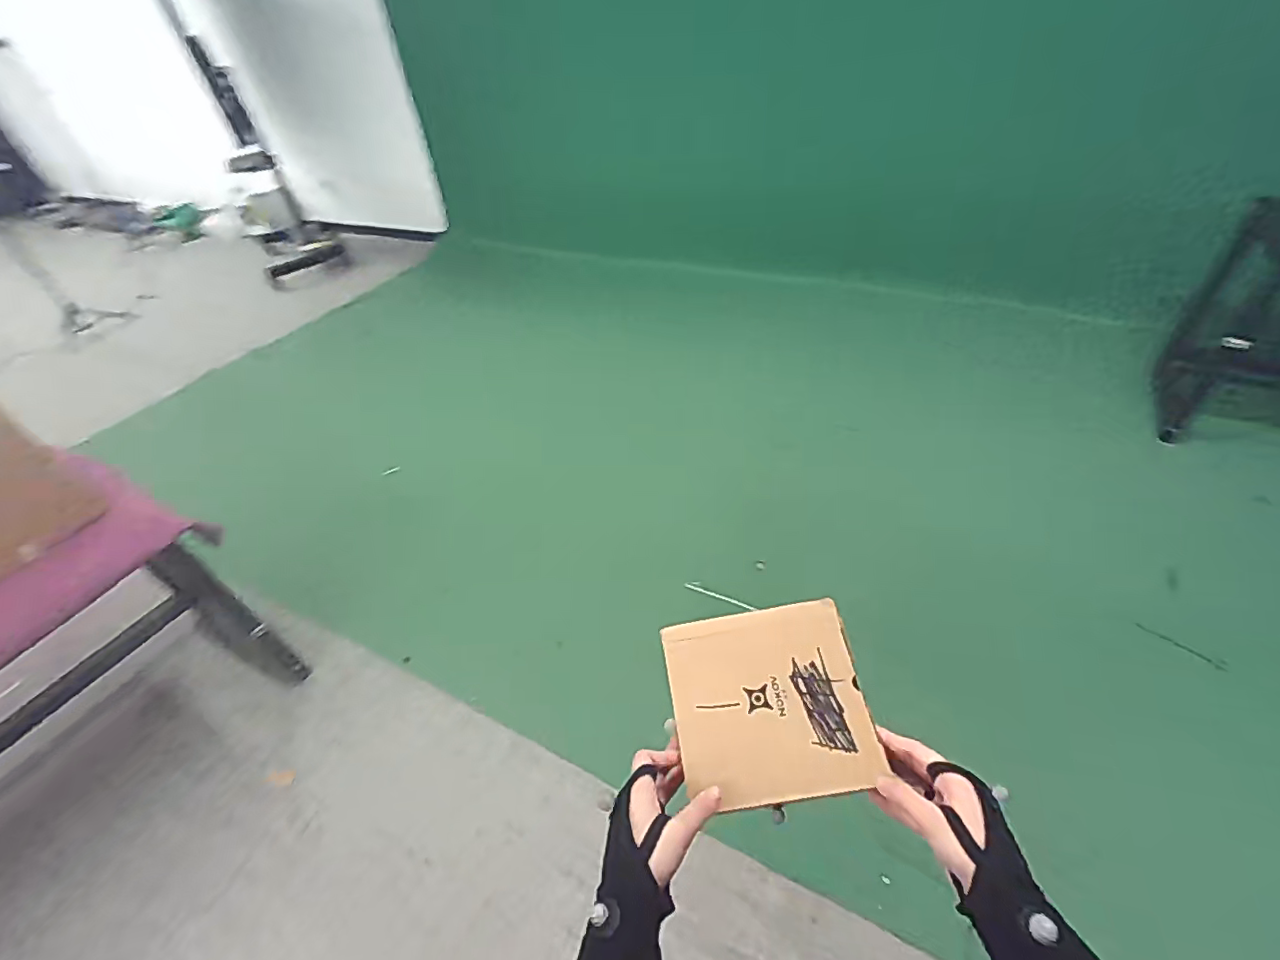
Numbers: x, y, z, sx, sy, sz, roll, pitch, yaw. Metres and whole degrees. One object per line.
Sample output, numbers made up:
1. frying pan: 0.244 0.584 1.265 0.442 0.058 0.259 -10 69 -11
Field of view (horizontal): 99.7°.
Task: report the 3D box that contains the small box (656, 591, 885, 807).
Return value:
1. small box: 0.120 0.233 0.563 0.179 0.176 0.168 -11 57 2
